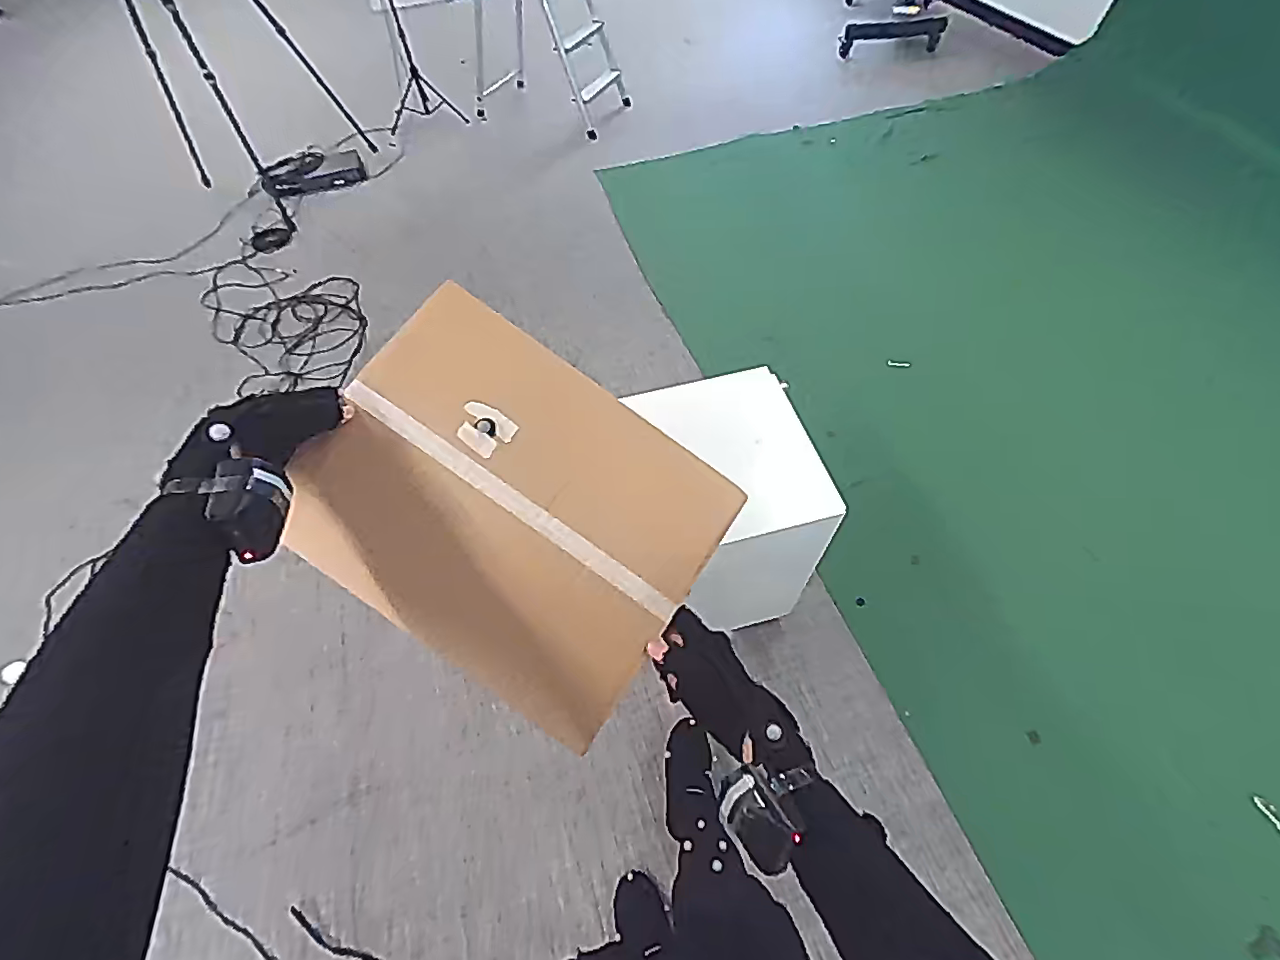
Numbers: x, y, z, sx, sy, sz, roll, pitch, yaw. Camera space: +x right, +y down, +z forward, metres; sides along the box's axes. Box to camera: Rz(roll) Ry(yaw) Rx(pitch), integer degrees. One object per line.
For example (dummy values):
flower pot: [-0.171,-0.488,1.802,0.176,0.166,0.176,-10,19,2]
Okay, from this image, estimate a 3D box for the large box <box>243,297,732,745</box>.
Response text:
large box: [-0.158,0.058,0.700,0.408,0.320,0.320,35,75,3]
